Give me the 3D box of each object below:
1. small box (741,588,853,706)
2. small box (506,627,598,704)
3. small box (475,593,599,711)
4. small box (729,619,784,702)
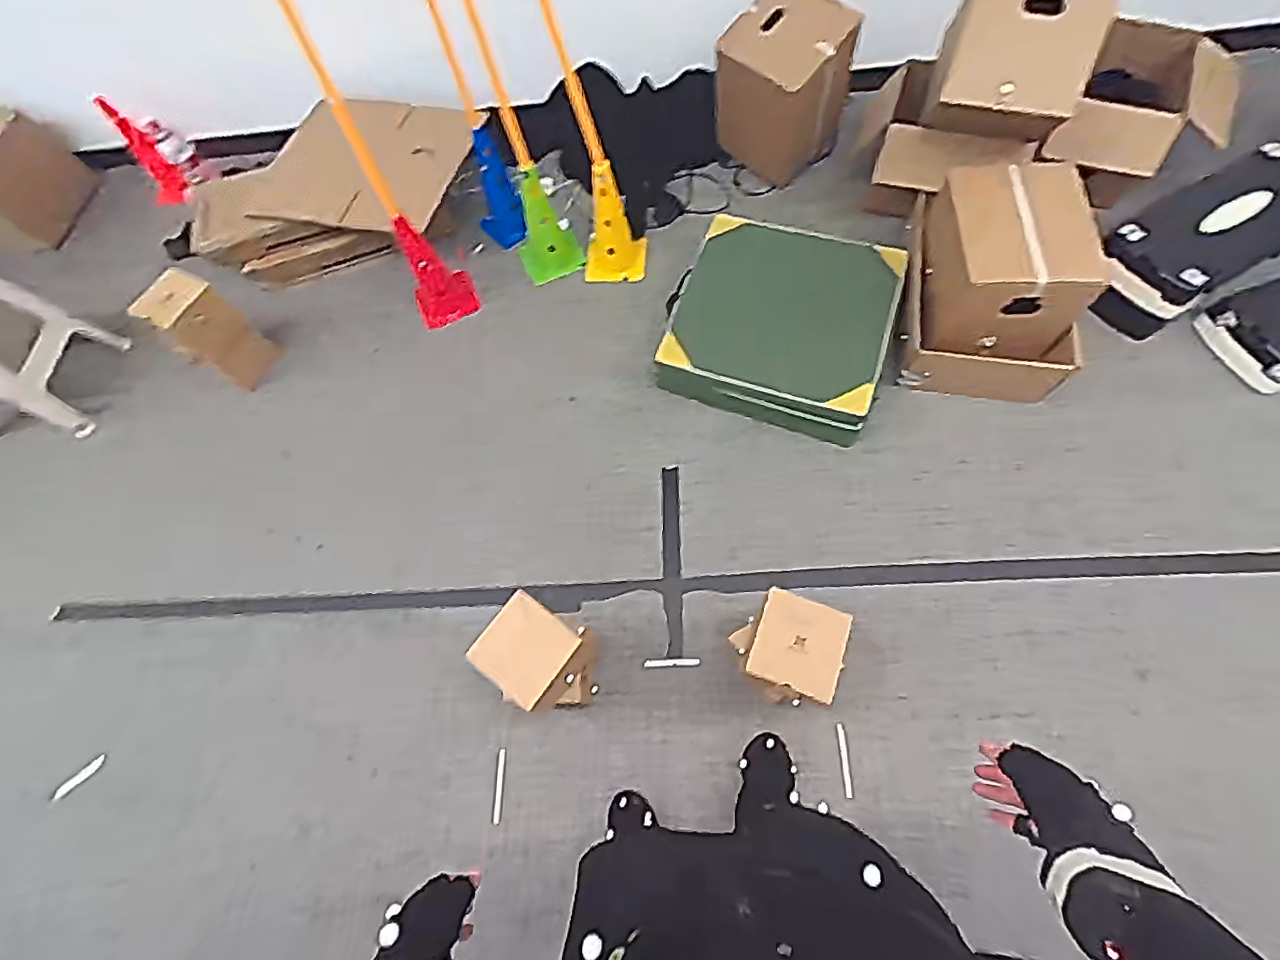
[{"bbox_3d":[0.314,0.347,1.112,0.168,0.176,0.179,20,70,11],"label":"small box"},{"bbox_3d":[-0.201,0.445,1.296,0.179,0.176,0.168,-1,66,6],"label":"small box"},{"bbox_3d":[-0.216,0.367,1.148,0.179,0.176,0.168,33,73,18],"label":"small box"},{"bbox_3d":[0.322,0.401,1.267,0.179,0.176,0.168,-30,69,-7],"label":"small box"}]
